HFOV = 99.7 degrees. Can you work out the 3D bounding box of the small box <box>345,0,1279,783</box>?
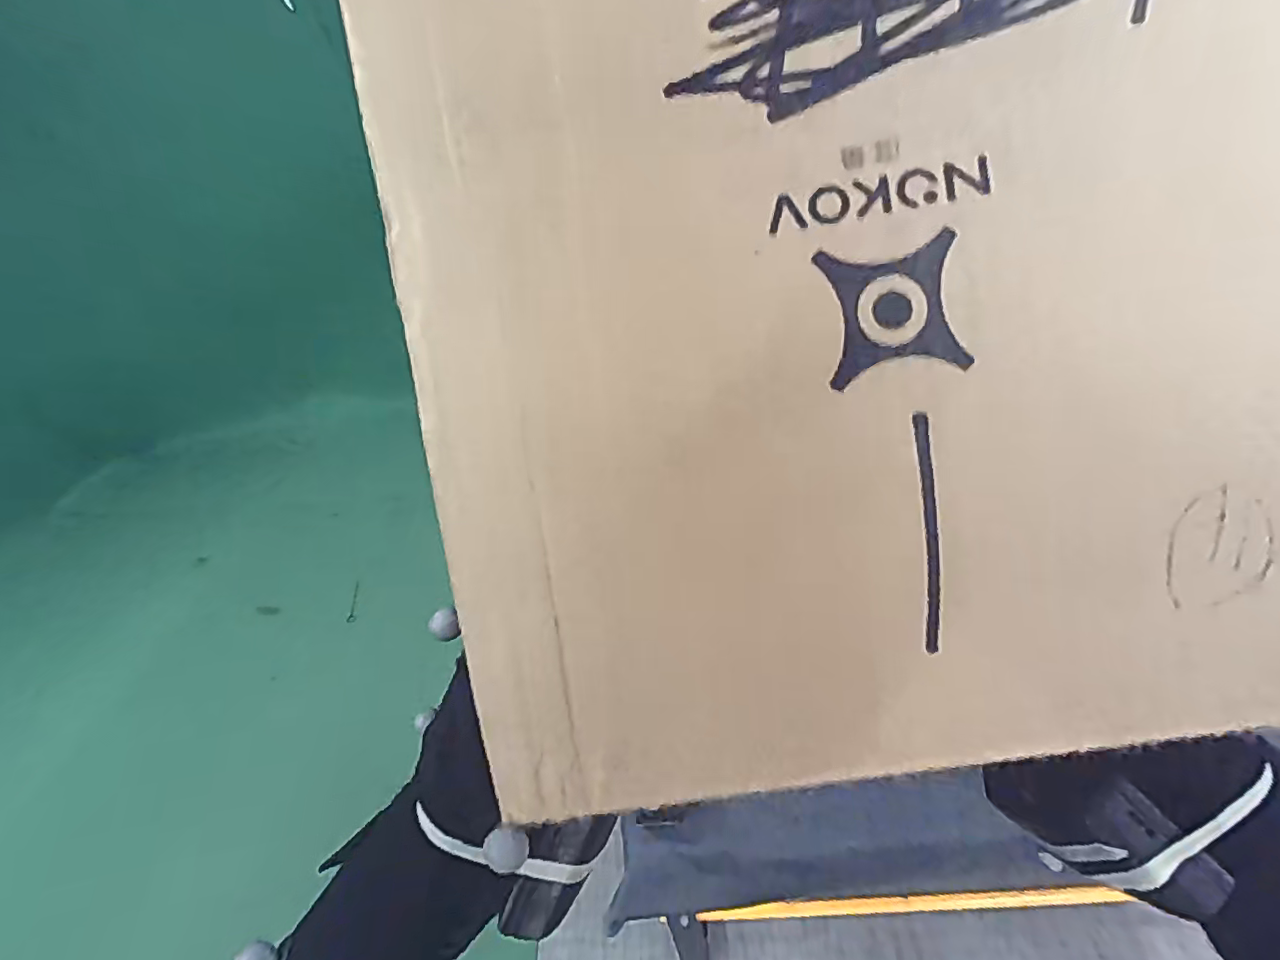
[{"bbox_3d":[0.040,-0.045,0.173,0.168,0.179,0.176,-9,3,3],"label":"small box"}]
